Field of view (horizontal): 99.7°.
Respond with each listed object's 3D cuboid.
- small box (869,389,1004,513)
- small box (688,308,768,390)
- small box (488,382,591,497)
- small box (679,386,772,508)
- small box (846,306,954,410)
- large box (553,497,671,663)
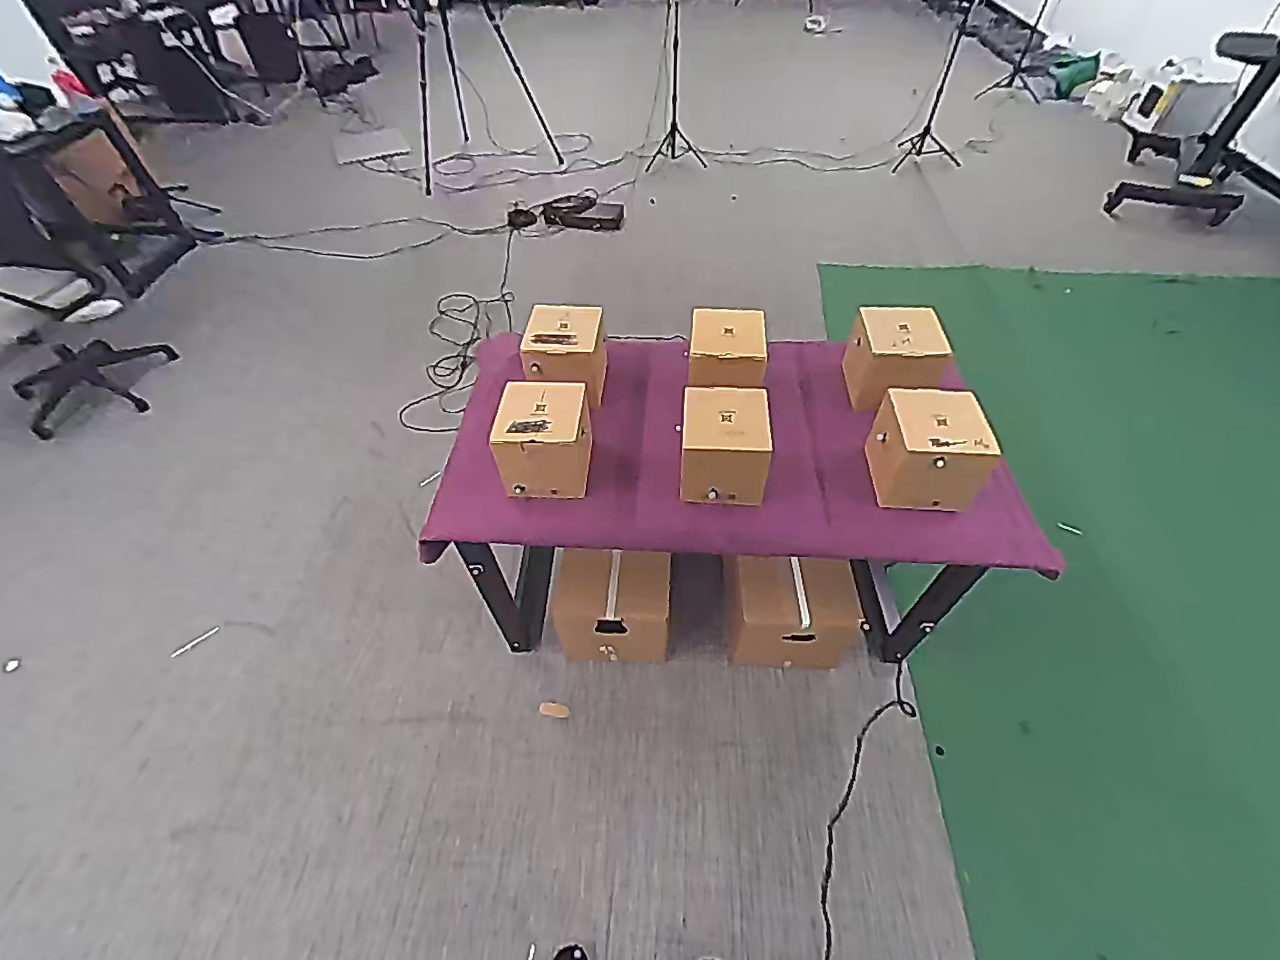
[{"bbox_3d":[0.567,-0.058,1.066,0.168,0.176,0.179,2,48,6],"label":"small box"},{"bbox_3d":[0.200,-0.277,1.264,0.168,0.176,0.179,4,52,4],"label":"small box"},{"bbox_3d":[-0.195,-0.081,1.111,0.168,0.176,0.179,1,49,3],"label":"small box"},{"bbox_3d":[0.167,-0.067,1.090,0.168,0.176,0.179,3,50,5],"label":"small box"},{"bbox_3d":[0.586,-0.279,1.247,0.168,0.176,0.179,2,52,6],"label":"small box"},{"bbox_3d":[-0.064,0.306,1.648,0.320,0.320,0.408,2,50,3],"label":"large box"}]
